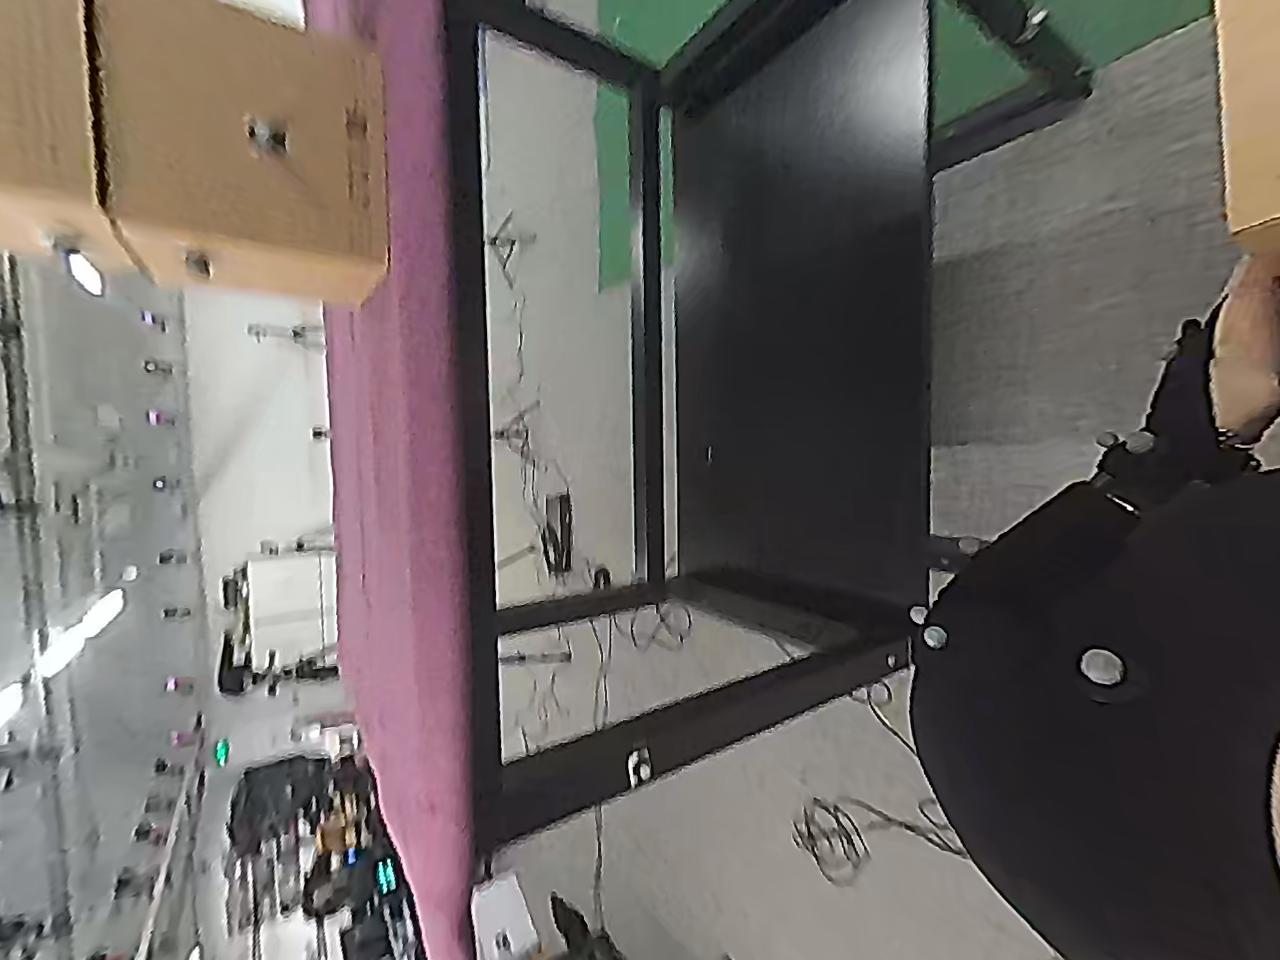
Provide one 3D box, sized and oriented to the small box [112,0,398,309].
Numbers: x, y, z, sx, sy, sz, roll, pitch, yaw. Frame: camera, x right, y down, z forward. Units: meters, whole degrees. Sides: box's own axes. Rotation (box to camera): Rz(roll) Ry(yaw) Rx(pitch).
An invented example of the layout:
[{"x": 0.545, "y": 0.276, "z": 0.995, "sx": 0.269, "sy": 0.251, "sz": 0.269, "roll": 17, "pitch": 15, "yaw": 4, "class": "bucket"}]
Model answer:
[{"x": -0.307, "y": -0.250, "z": 0.455, "sx": 0.179, "sy": 0.176, "sz": 0.168, "roll": 7, "pitch": 98, "yaw": 55, "class": "small box"}]
